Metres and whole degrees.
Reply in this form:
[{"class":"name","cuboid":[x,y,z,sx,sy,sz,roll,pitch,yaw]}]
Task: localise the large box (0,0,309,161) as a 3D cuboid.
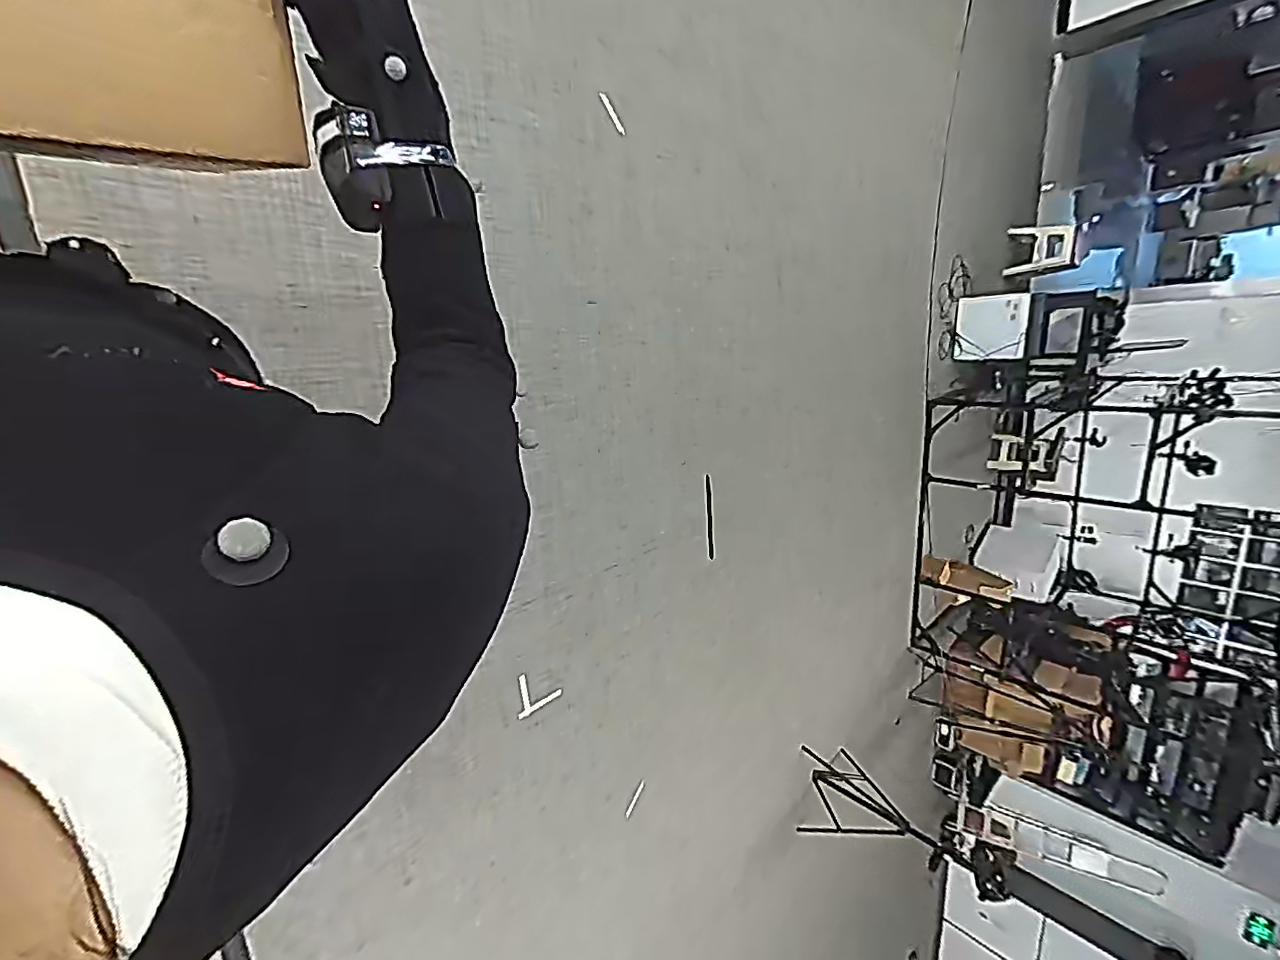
[{"class":"large box","cuboid":[-0.470,-0.365,0.283,0.408,0.320,0.320,-20,126,-40]}]
